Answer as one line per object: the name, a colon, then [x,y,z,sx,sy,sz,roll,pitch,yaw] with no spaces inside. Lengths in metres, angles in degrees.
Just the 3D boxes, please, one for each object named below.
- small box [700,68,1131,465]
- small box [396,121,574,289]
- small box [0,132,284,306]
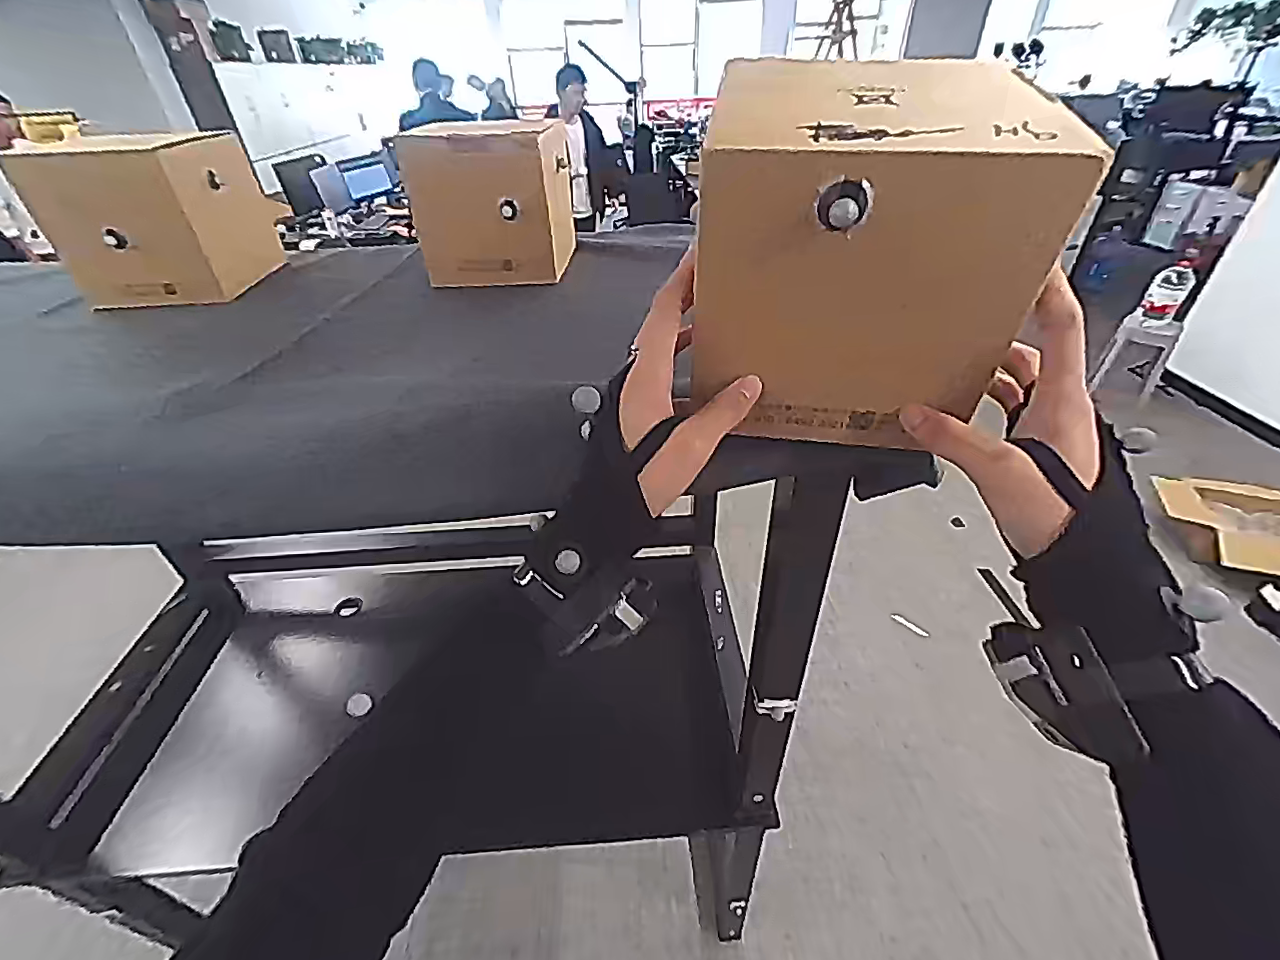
small box: [0.129,-0.134,0.335,0.168,0.176,0.179,6,48,8]
small box: [-0.181,-0.355,0.700,0.168,0.176,0.179,1,37,2]
small box: [-0.593,-0.325,0.680,0.168,0.176,0.179,-3,38,-2]
